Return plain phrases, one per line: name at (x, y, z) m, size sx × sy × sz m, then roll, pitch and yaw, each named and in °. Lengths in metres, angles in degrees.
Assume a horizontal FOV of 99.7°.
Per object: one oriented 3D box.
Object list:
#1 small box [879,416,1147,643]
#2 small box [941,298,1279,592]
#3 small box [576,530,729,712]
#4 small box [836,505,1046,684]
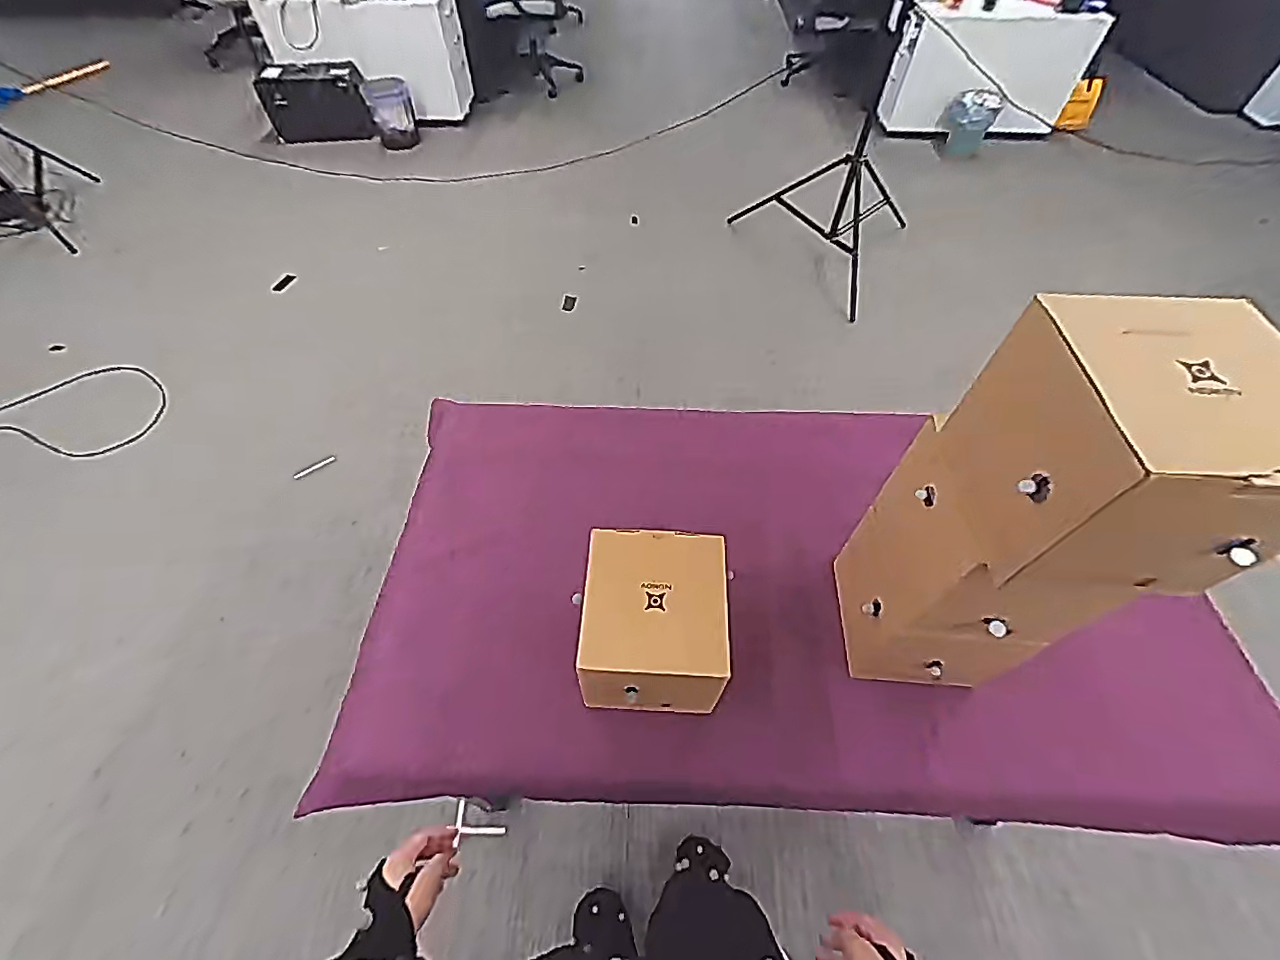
small box at (0.377, 0.056, 0.578) m, size 0.168 × 0.176 × 0.179 m, roll 4°, pitch 55°, yaw 2°
small box at (0.381, -0.022, 0.434) m, size 0.168 × 0.176 × 0.179 m, roll 2°, pitch 54°, yaw -1°
small box at (0.018, 0.183, 0.683) m, size 0.168 × 0.176 × 0.179 m, roll 3°, pitch 53°, yaw 1°
small box at (0.371, 0.155, 0.709) m, size 0.168 × 0.176 × 0.179 m, roll 5°, pitch 54°, yaw 2°
